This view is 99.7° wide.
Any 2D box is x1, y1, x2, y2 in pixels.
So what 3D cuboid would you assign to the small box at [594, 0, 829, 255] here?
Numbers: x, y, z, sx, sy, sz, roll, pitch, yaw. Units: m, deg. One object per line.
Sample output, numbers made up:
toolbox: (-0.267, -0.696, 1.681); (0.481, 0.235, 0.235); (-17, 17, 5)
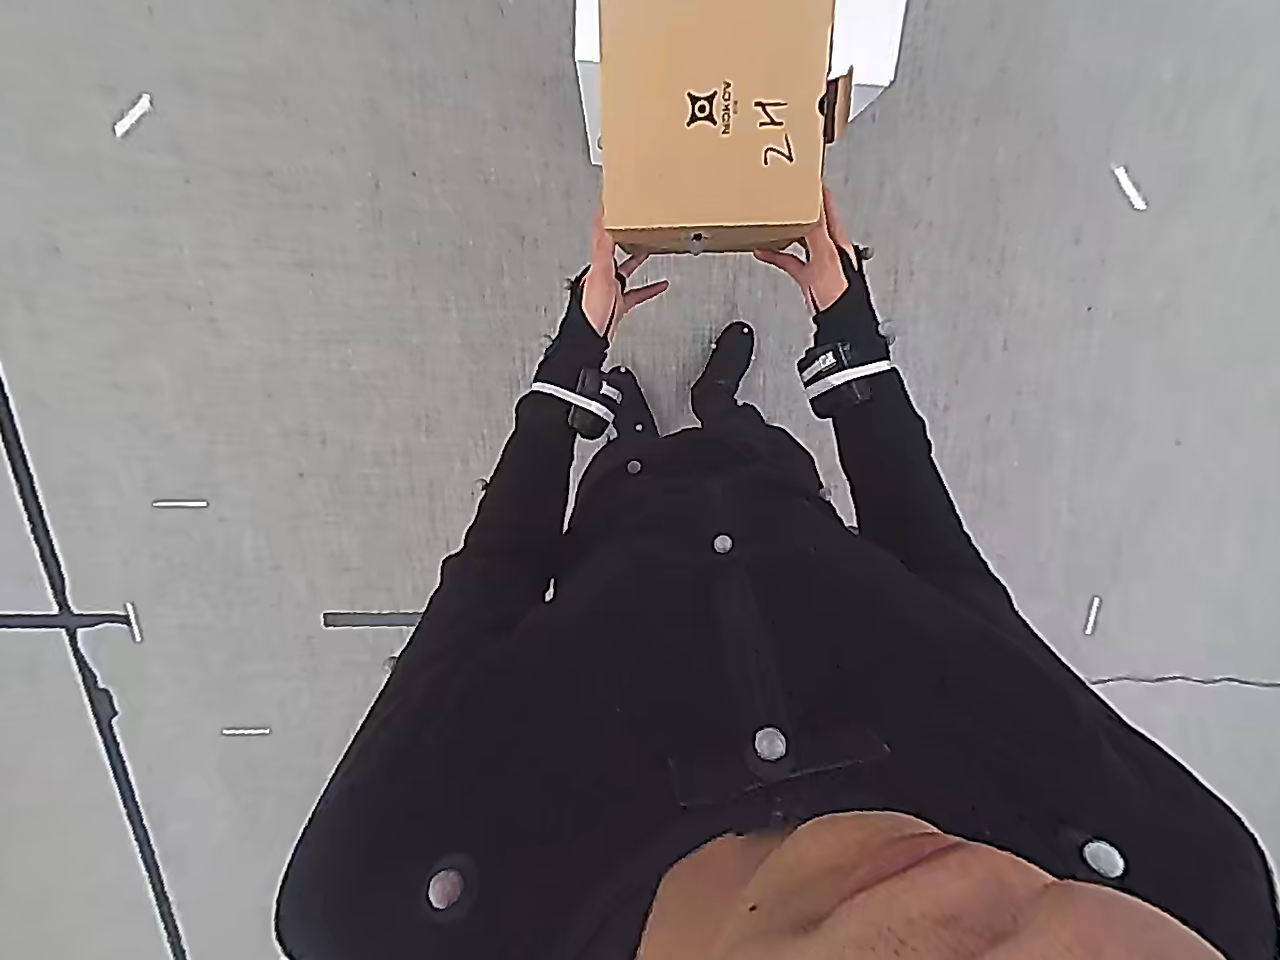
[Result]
small box: (0.059, -0.305, 0.496); (0.179, 0.176, 0.168); (0, 106, 4)
